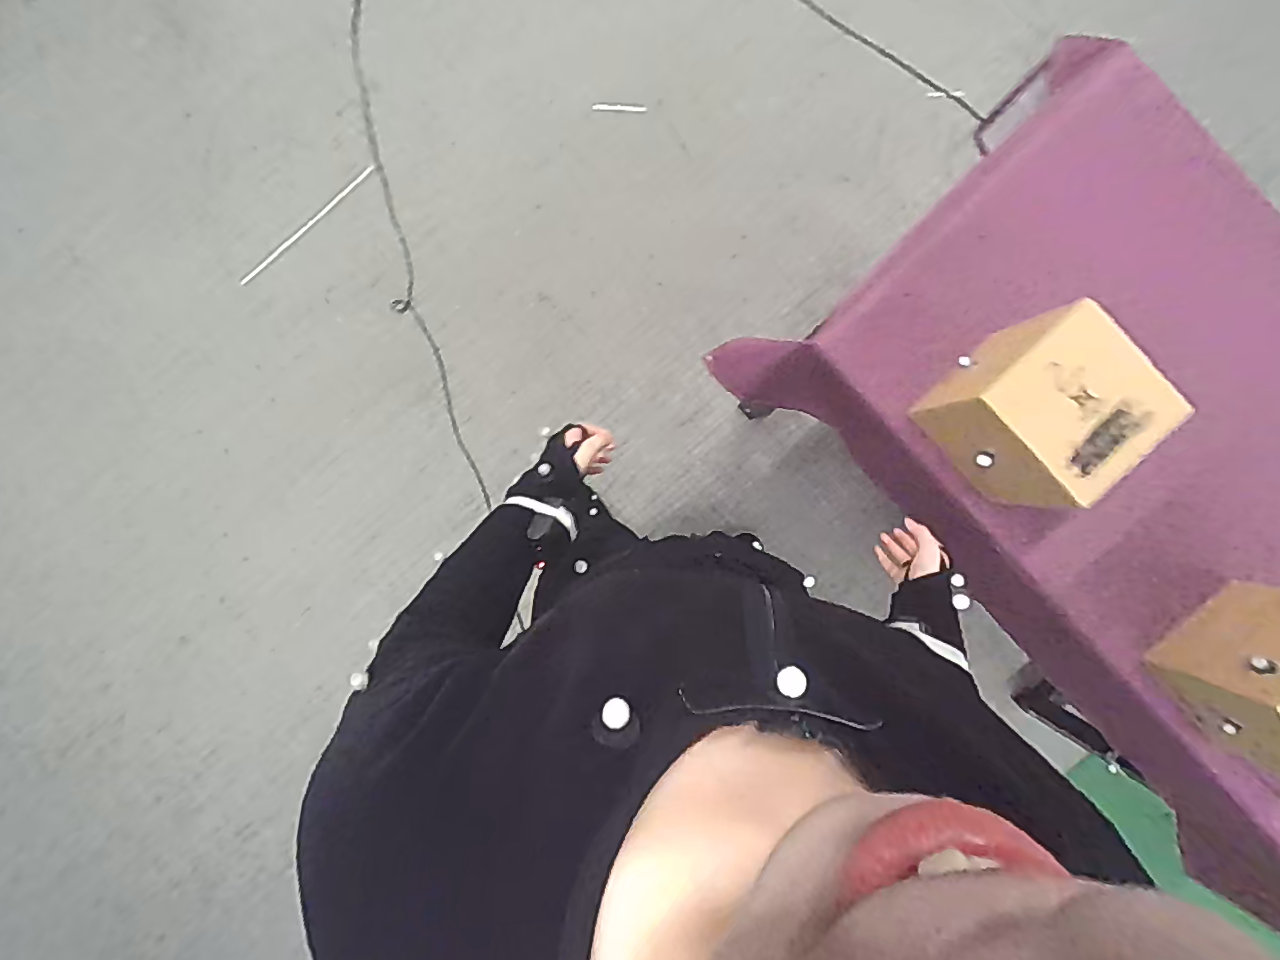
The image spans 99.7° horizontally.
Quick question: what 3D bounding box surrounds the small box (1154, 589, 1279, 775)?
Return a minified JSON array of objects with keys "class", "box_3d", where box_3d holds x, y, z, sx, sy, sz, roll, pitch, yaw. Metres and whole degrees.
[{"class":"small box","box_3d":[0.830,0.267,0.694,0.179,0.176,0.168,-40,91,0]}]
